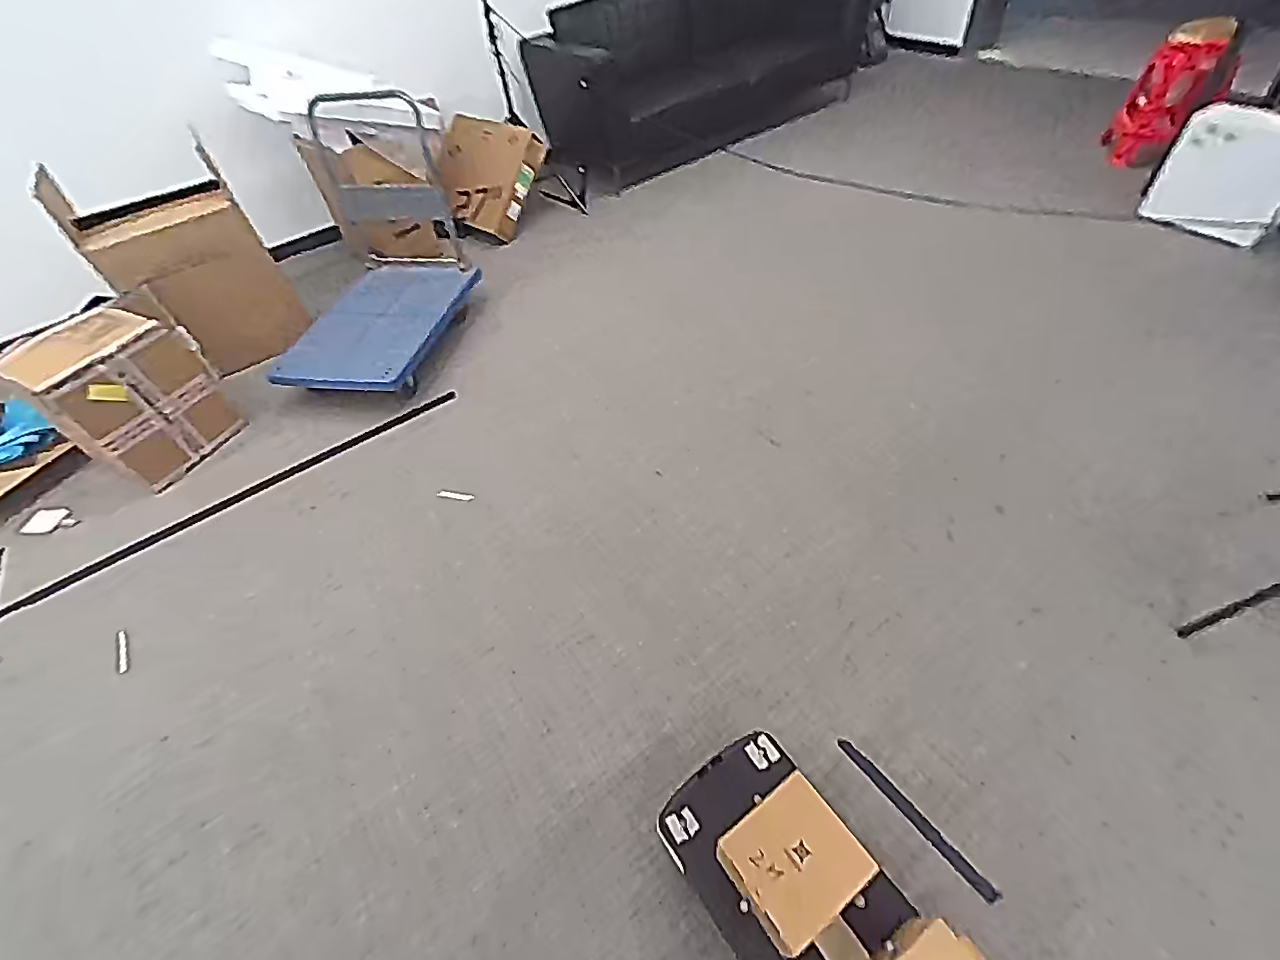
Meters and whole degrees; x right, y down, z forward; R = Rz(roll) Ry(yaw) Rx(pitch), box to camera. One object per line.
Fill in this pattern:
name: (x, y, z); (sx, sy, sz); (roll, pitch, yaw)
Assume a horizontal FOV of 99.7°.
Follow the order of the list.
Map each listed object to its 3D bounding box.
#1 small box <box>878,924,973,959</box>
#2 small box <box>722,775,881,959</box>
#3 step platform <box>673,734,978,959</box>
small box: (0.398, 0.749, 0.733); (0.179, 0.176, 0.168); (-30, 51, -16)
small box: (0.245, 0.619, 0.867); (0.179, 0.176, 0.168); (-30, 51, -18)
step platform: (0.356, 0.802, 0.925); (0.286, 0.204, 0.684); (-31, 51, -19)
